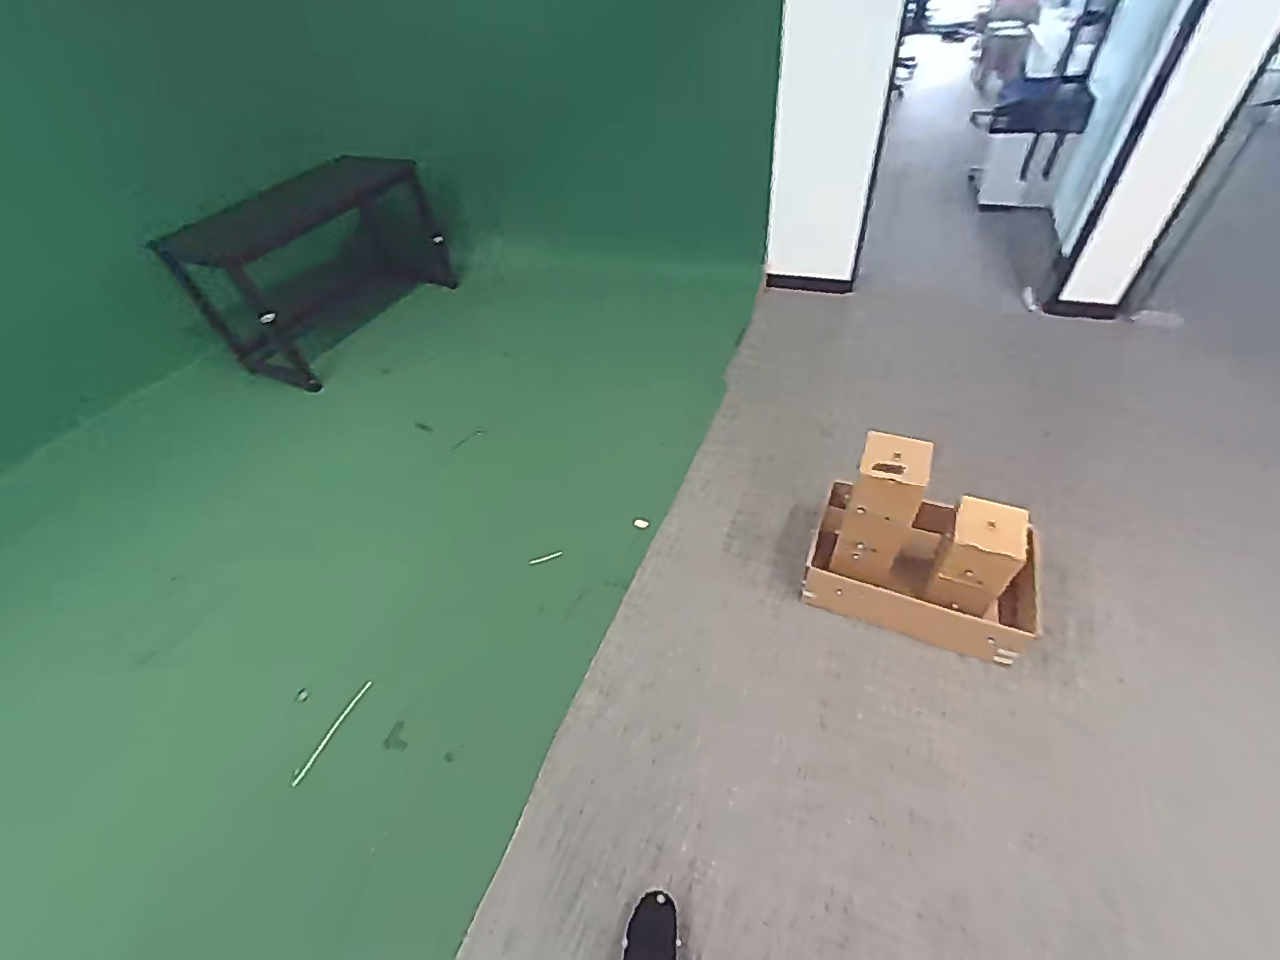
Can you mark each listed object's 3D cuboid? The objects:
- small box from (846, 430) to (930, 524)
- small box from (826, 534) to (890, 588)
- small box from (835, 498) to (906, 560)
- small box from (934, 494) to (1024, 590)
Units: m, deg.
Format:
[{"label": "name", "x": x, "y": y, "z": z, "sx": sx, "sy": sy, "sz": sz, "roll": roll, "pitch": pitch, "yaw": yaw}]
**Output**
[{"label": "small box", "x": 0.672, "y": -0.005, "z": 1.476, "sx": 0.168, "sy": 0.176, "sz": 0.179, "roll": 15, "pitch": 51, "yaw": 19}, {"label": "small box", "x": 0.703, "y": 0.209, "z": 1.720, "sx": 0.168, "sy": 0.176, "sz": 0.179, "roll": 17, "pitch": 51, "yaw": 21}, {"label": "small box", "x": 0.688, "y": 0.102, "z": 1.599, "sx": 0.168, "sy": 0.176, "sz": 0.179, "roll": 17, "pitch": 52, "yaw": 21}, {"label": "small box", "x": 0.939, "y": 0.174, "z": 1.504, "sx": 0.168, "sy": 0.176, "sz": 0.179, "roll": 16, "pitch": 53, "yaw": 21}]
